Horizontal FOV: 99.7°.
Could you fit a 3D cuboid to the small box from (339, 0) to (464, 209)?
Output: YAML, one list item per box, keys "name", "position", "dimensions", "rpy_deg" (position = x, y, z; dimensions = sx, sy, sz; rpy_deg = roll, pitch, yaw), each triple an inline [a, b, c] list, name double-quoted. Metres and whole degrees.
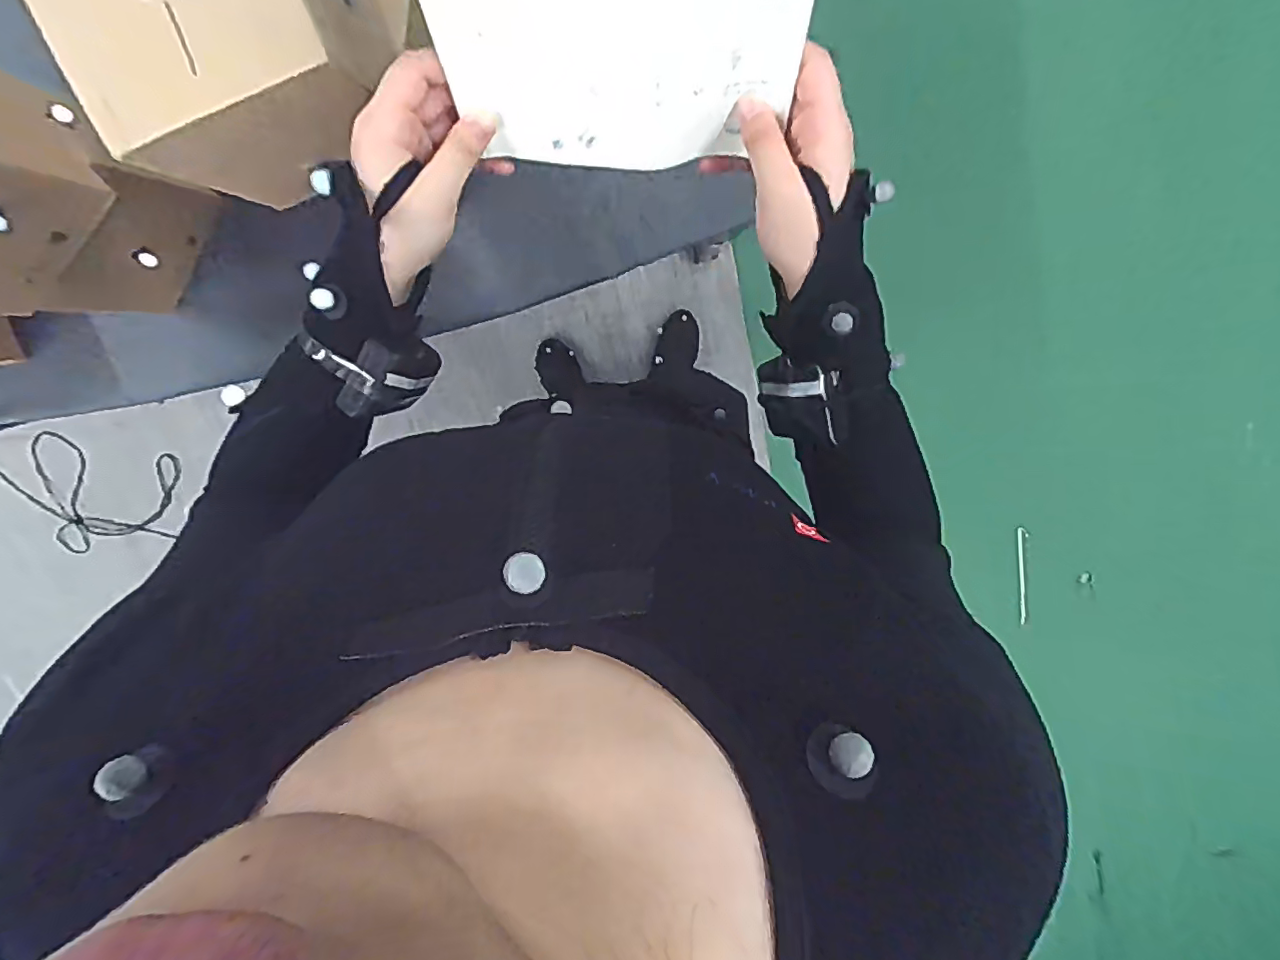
- name: "small box"
  position: [-0.297, -0.392, 0.549]
  dimensions: [0.179, 0.176, 0.168]
  rpy_deg: [15, 106, -3]

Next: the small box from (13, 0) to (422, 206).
- name: "small box"
  position: [-0.295, -0.331, 0.395]
  dimensions: [0.168, 0.176, 0.179]
  rpy_deg: [-18, 106, 7]

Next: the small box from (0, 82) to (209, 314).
- name: "small box"
  position: [-0.627, -0.300, 0.581]
  dimensions: [0.179, 0.176, 0.168]
  rpy_deg: [34, 104, -9]

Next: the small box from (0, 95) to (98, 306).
- name: "small box"
  position: [-0.611, -0.250, 0.426]
  dimensions: [0.168, 0.176, 0.179]
  rpy_deg: [-42, 101, 11]
